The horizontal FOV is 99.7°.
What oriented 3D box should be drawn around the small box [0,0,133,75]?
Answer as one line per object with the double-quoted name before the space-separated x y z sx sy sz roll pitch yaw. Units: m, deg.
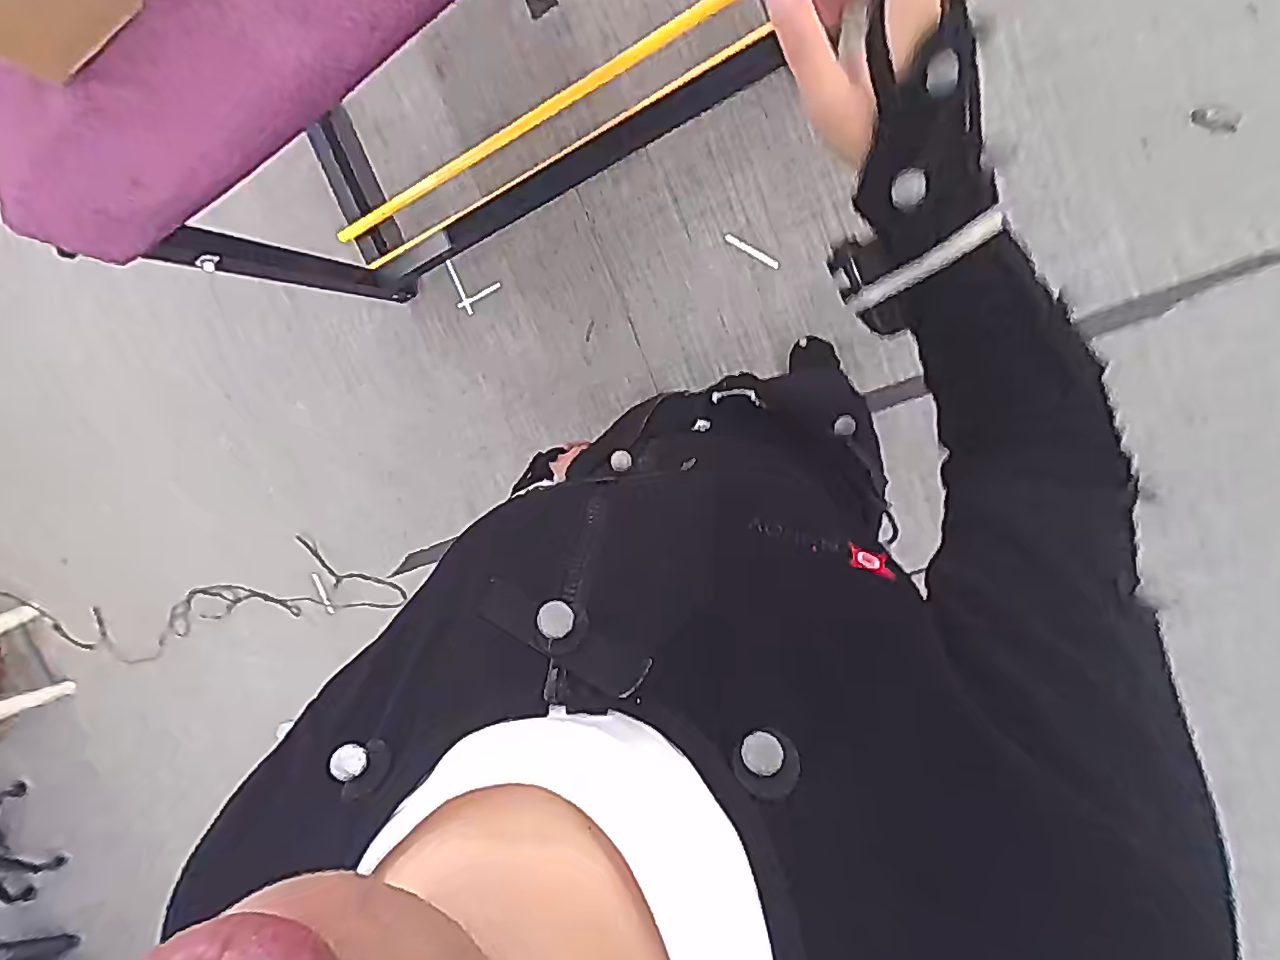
"small box" -0.736 -0.621 0.611 0.179 0.176 0.168 -23 94 15
